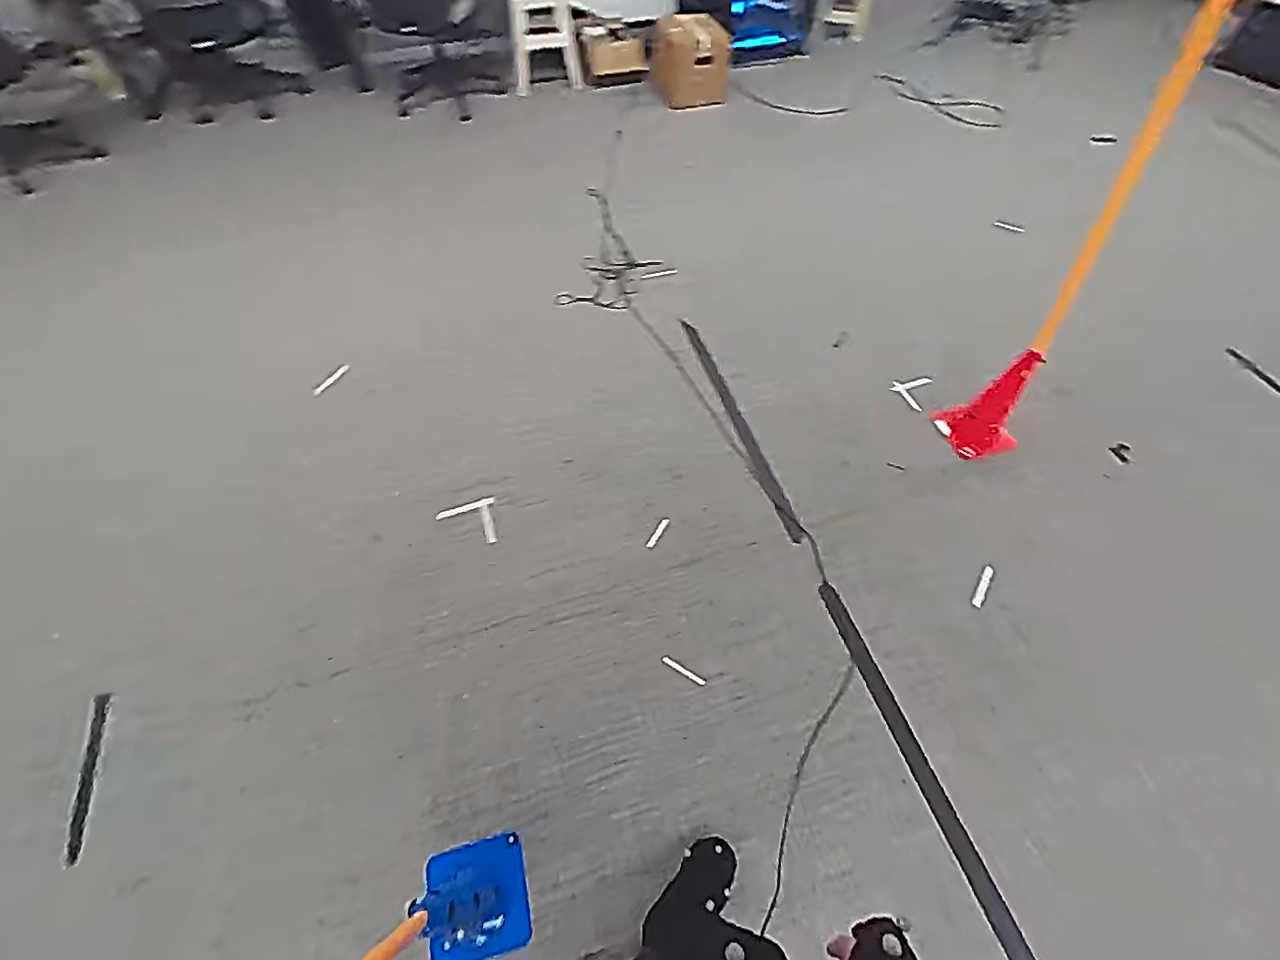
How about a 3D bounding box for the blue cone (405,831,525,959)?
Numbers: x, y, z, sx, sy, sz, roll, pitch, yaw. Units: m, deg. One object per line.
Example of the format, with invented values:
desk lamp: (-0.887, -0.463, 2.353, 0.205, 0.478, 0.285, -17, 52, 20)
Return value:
blue cone: (-0.338, 0.761, 0.973, 0.193, 0.380, 0.192, -12, 56, -8)
